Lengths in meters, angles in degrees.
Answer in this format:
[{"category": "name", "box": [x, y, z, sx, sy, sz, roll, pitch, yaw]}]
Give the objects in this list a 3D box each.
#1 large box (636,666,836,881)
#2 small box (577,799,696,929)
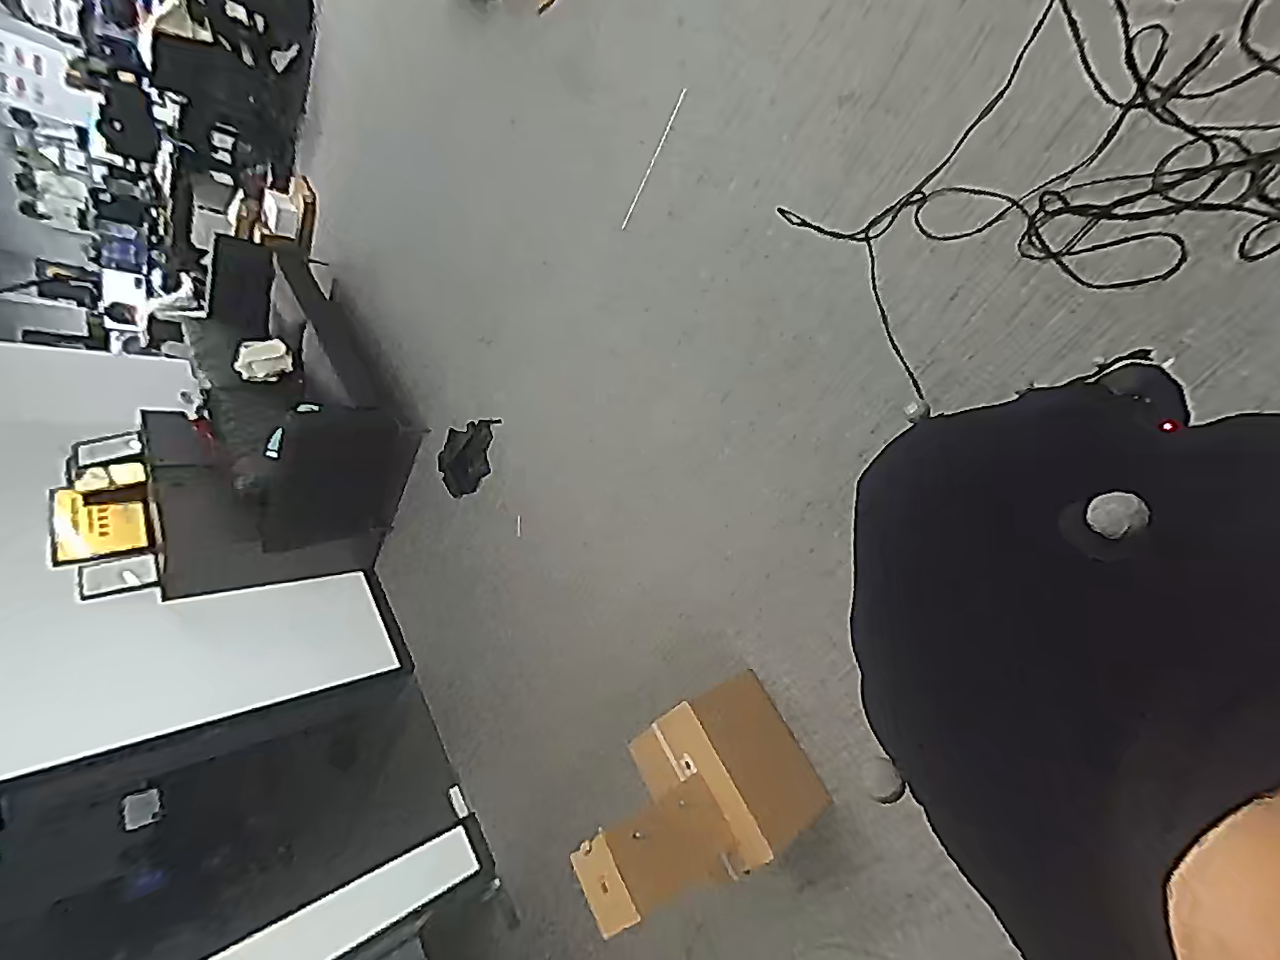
[{"category": "large box", "box": [0.264, 0.814, 1.540, 0.320, 0.320, 0.408, -51, 57, 32]}, {"category": "small box", "box": [-0.009, 0.866, 1.239, 0.179, 0.176, 0.168, 55, 128, 28]}]
